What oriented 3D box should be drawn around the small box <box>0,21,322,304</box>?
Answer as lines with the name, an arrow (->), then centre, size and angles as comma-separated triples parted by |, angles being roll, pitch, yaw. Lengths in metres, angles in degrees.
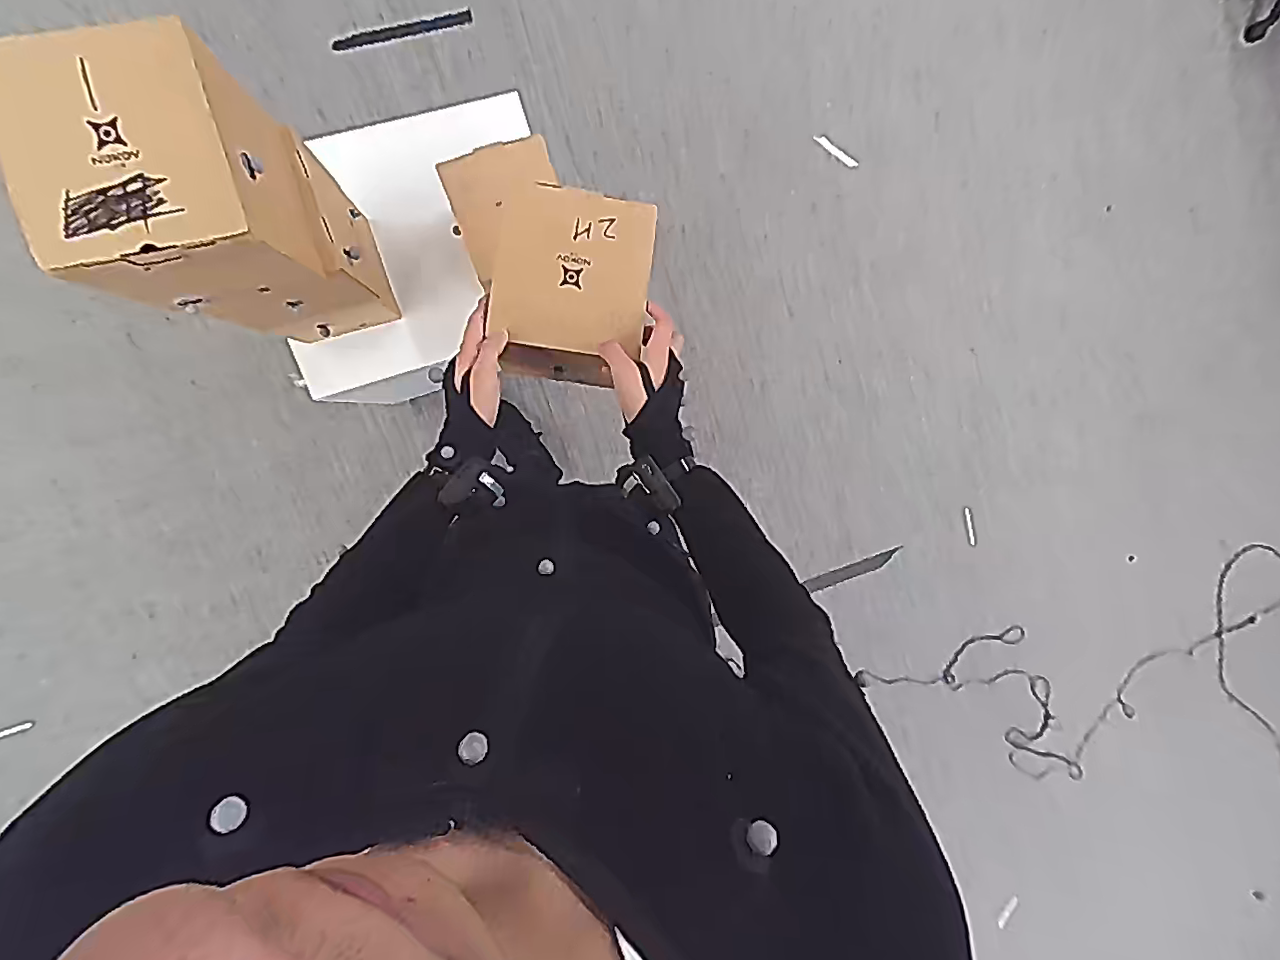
small box -> -0.439, -0.277, 0.516 | 0.168, 0.176, 0.179 | -15, 99, -8

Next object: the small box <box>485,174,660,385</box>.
small box -> -0.081, -0.222, 0.649 | 0.168, 0.176, 0.179 | 8, 88, -9

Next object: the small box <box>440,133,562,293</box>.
small box -> -0.202, -0.414, 0.879 | 0.168, 0.176, 0.179 | -21, 100, -6

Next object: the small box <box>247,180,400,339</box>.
small box -> -0.495, -0.326, 0.837 | 0.168, 0.176, 0.179 | -19, 100, -9
